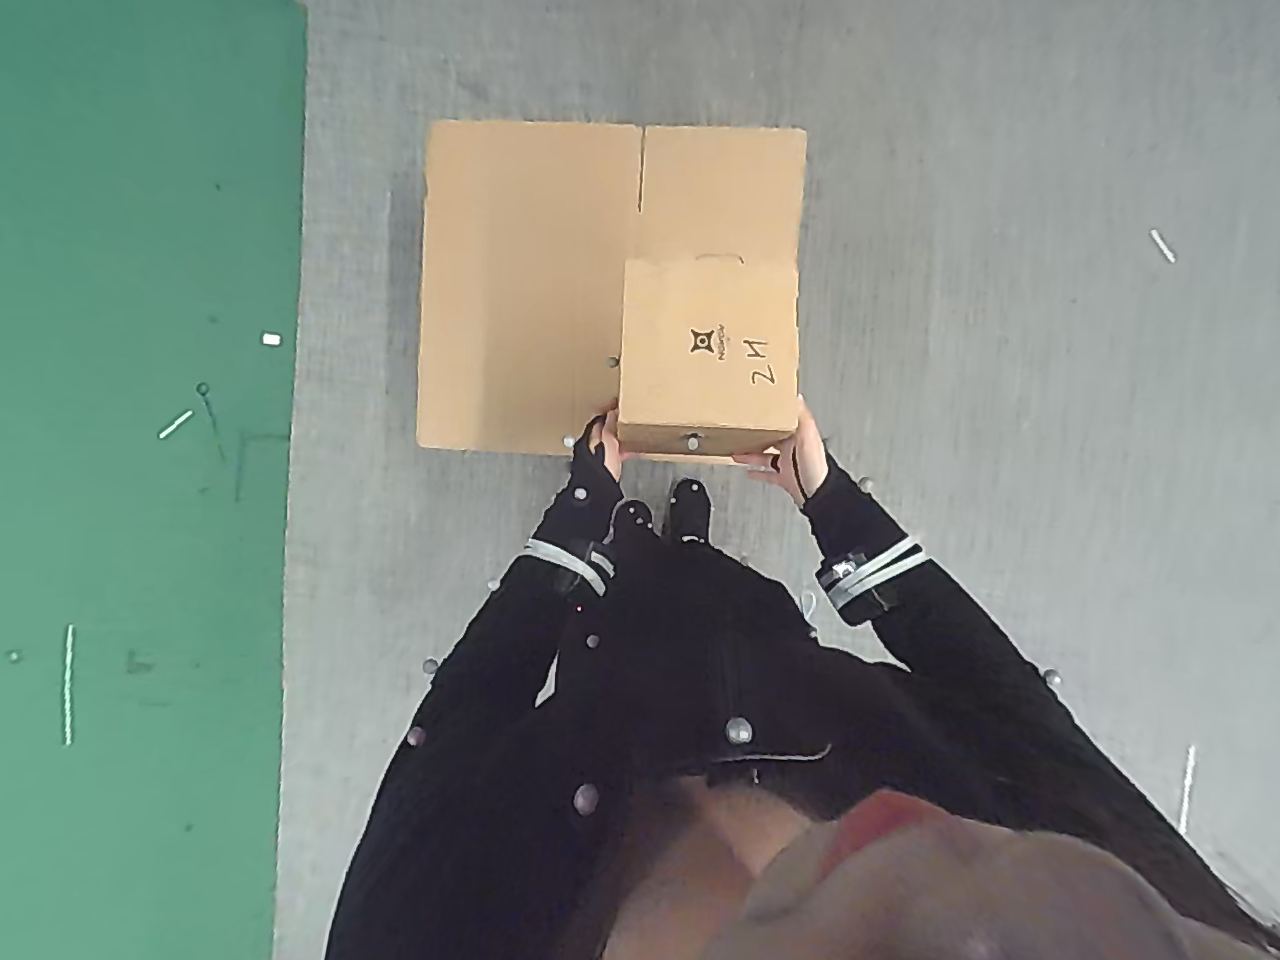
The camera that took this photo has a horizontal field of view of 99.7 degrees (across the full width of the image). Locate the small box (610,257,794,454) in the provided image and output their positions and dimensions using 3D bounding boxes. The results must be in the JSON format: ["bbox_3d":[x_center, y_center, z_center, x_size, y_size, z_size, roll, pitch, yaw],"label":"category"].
[{"bbox_3d":[0.060,-0.126,0.605,0.179,0.176,0.168,3,83,-2],"label":"small box"}]
